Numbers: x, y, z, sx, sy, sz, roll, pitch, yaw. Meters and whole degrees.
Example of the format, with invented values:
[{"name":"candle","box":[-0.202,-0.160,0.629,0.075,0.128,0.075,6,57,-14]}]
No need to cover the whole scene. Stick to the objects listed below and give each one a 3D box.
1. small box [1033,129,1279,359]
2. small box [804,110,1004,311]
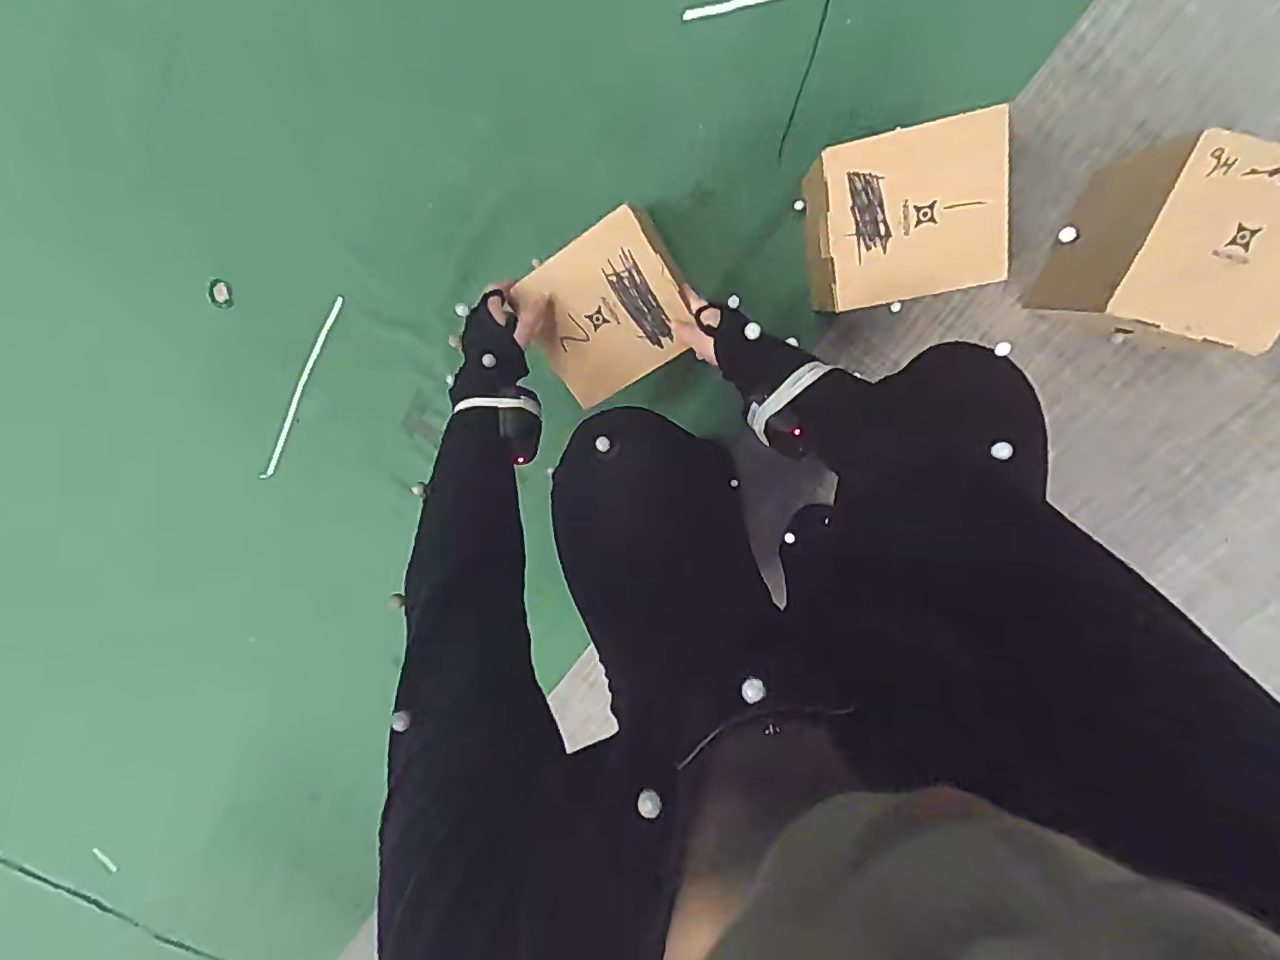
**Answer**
[{"name":"small box","box":[0.589,-0.252,0.603,0.168,0.176,0.179,18,112,3]},{"name":"small box","box":[0.293,-0.297,0.636,0.179,0.176,0.168,-7,108,11]}]
